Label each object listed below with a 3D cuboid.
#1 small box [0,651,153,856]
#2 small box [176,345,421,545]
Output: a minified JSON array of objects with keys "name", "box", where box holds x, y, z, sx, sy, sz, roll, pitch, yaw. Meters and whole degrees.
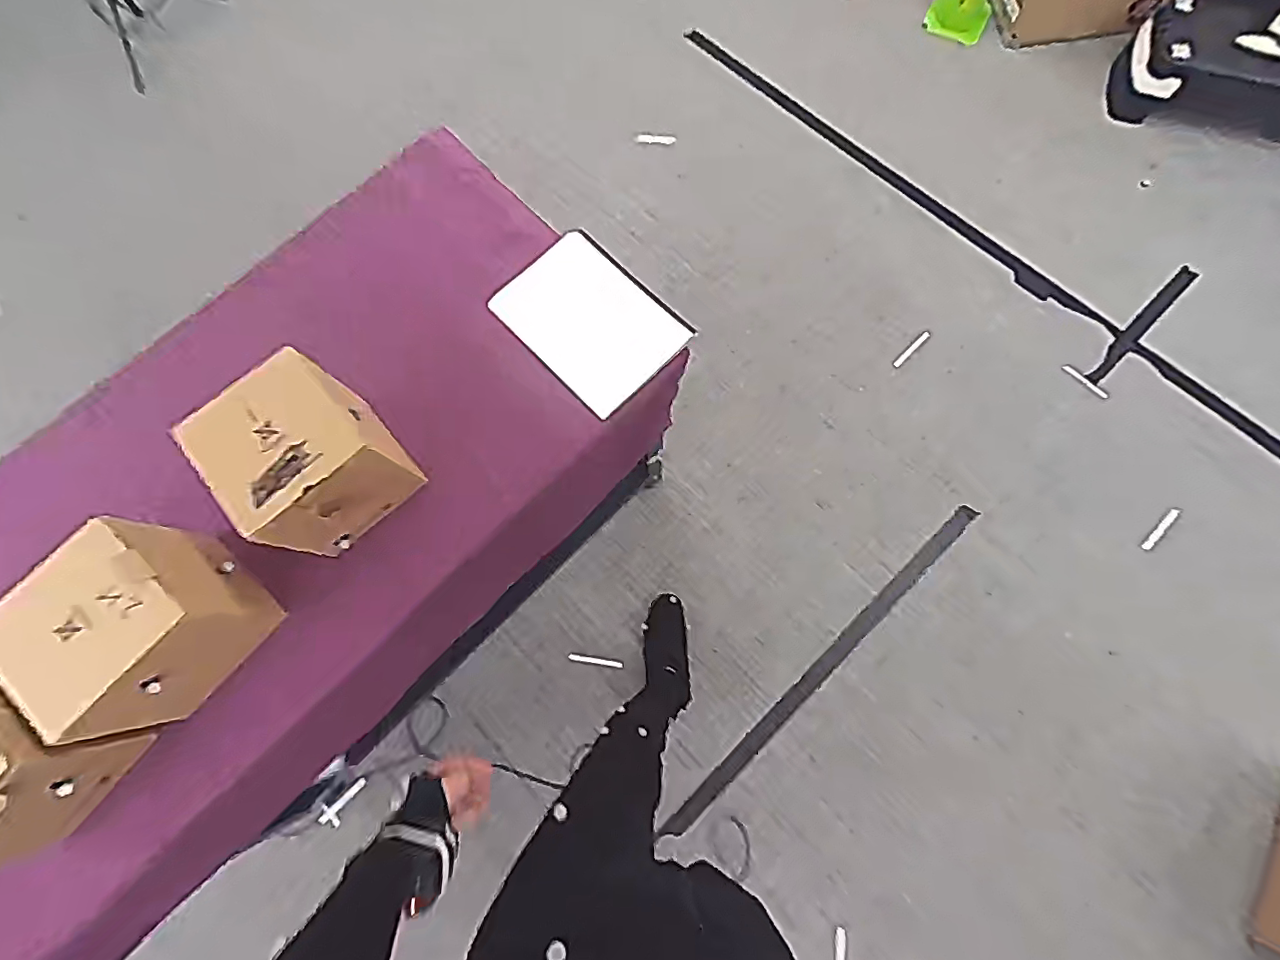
[{"name":"small box","box":[-0.737,0.313,0.622,0.179,0.176,0.168,37,79,10]},{"name":"small box","box":[-0.421,-0.032,0.698,0.168,0.176,0.179,-41,77,-8]}]
